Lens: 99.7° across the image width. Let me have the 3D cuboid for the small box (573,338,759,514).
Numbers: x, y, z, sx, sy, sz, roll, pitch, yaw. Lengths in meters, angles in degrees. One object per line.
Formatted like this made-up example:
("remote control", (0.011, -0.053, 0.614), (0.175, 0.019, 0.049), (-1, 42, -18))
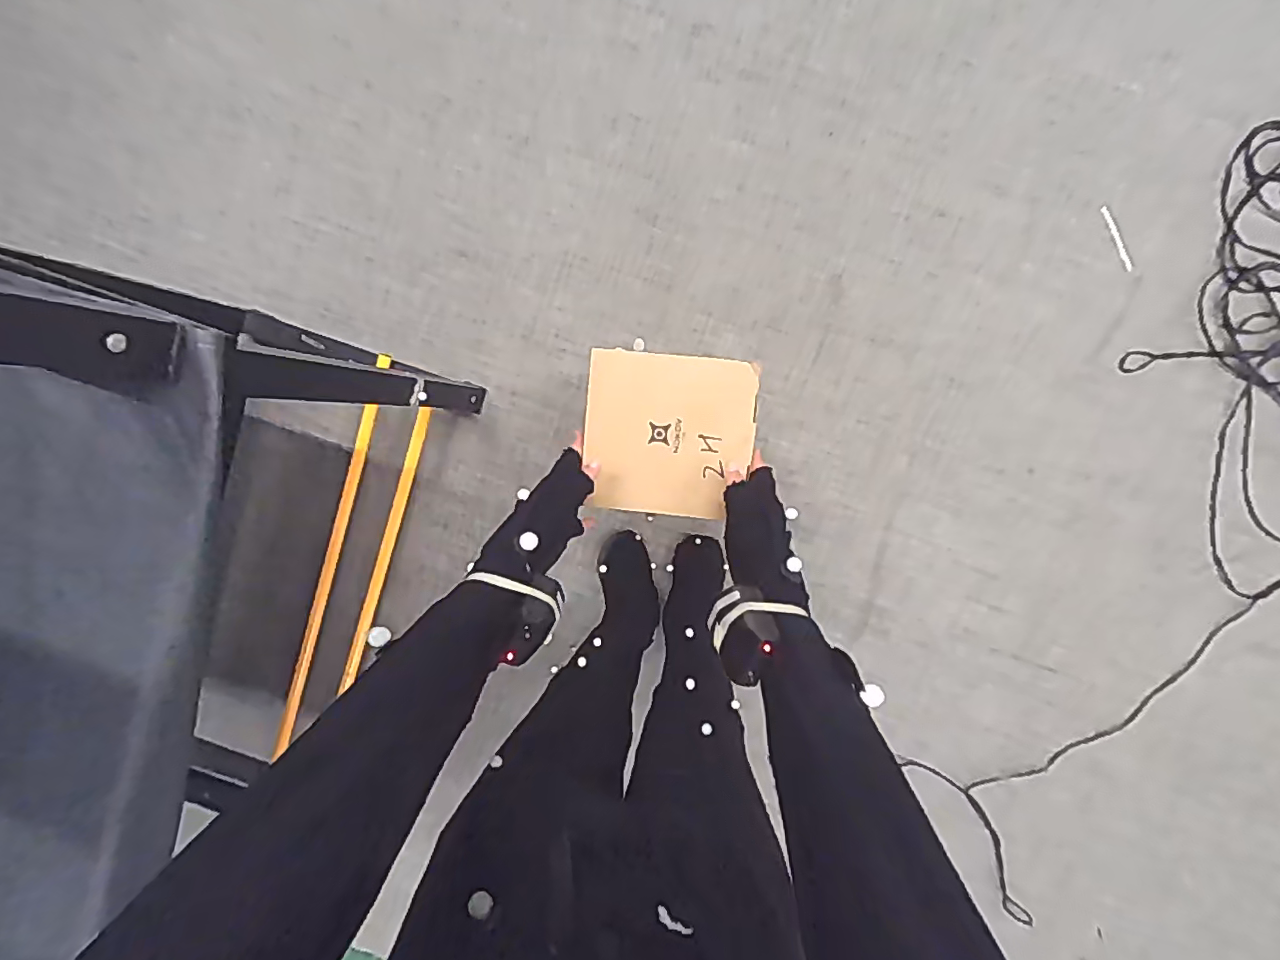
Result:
("small box", (0.031, -0.065, 0.630), (0.179, 0.176, 0.168), (6, 99, 4))
